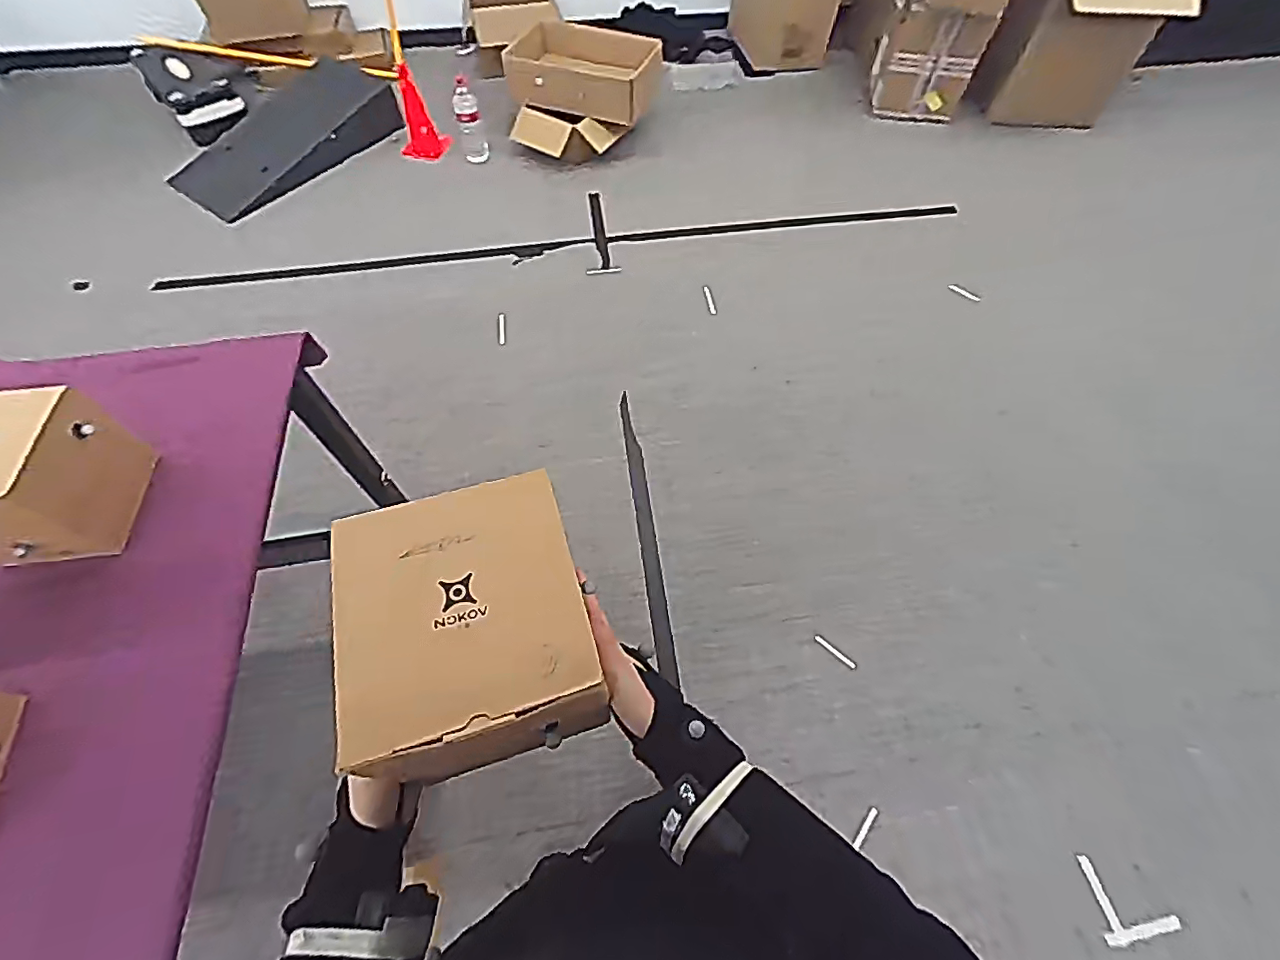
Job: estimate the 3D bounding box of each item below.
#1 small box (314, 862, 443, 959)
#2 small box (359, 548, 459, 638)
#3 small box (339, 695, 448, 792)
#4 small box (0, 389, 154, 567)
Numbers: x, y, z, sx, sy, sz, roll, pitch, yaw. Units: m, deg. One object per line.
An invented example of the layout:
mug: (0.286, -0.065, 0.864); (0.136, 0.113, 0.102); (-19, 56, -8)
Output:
small box: (-0.511, 0.875, 1.073); (0.179, 0.176, 0.168); (-7, 60, -4)
small box: (-0.591, 0.298, 1.412); (0.168, 0.176, 0.179); (7, 61, 3)
small box: (-0.551, 0.603, 1.231); (0.179, 0.176, 0.168); (-8, 60, -6)
small box: (-0.827, 0.001, 0.738); (0.168, 0.176, 0.179); (-6, 60, -3)
